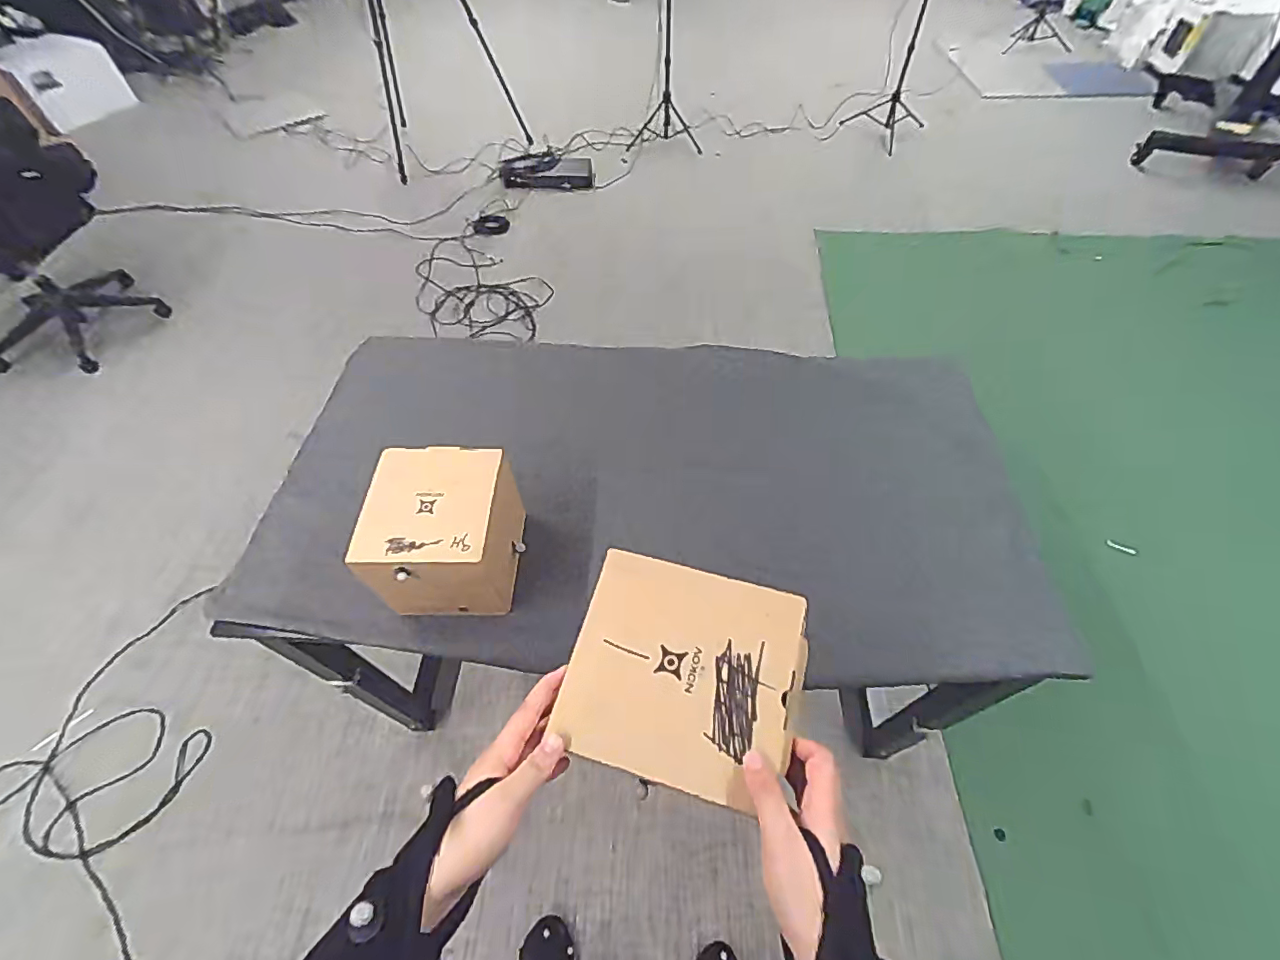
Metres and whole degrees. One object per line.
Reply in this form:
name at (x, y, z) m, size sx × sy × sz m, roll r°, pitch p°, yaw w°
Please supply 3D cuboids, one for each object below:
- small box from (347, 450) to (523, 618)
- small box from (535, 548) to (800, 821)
small box at (-0.267, 0.077, 0.756) m, size 0.168 × 0.176 × 0.179 m, roll 0°, pitch 54°, yaw 2°
small box at (0.031, 0.186, 0.495) m, size 0.179 × 0.176 × 0.168 m, roll 13°, pitch 62°, yaw 12°
